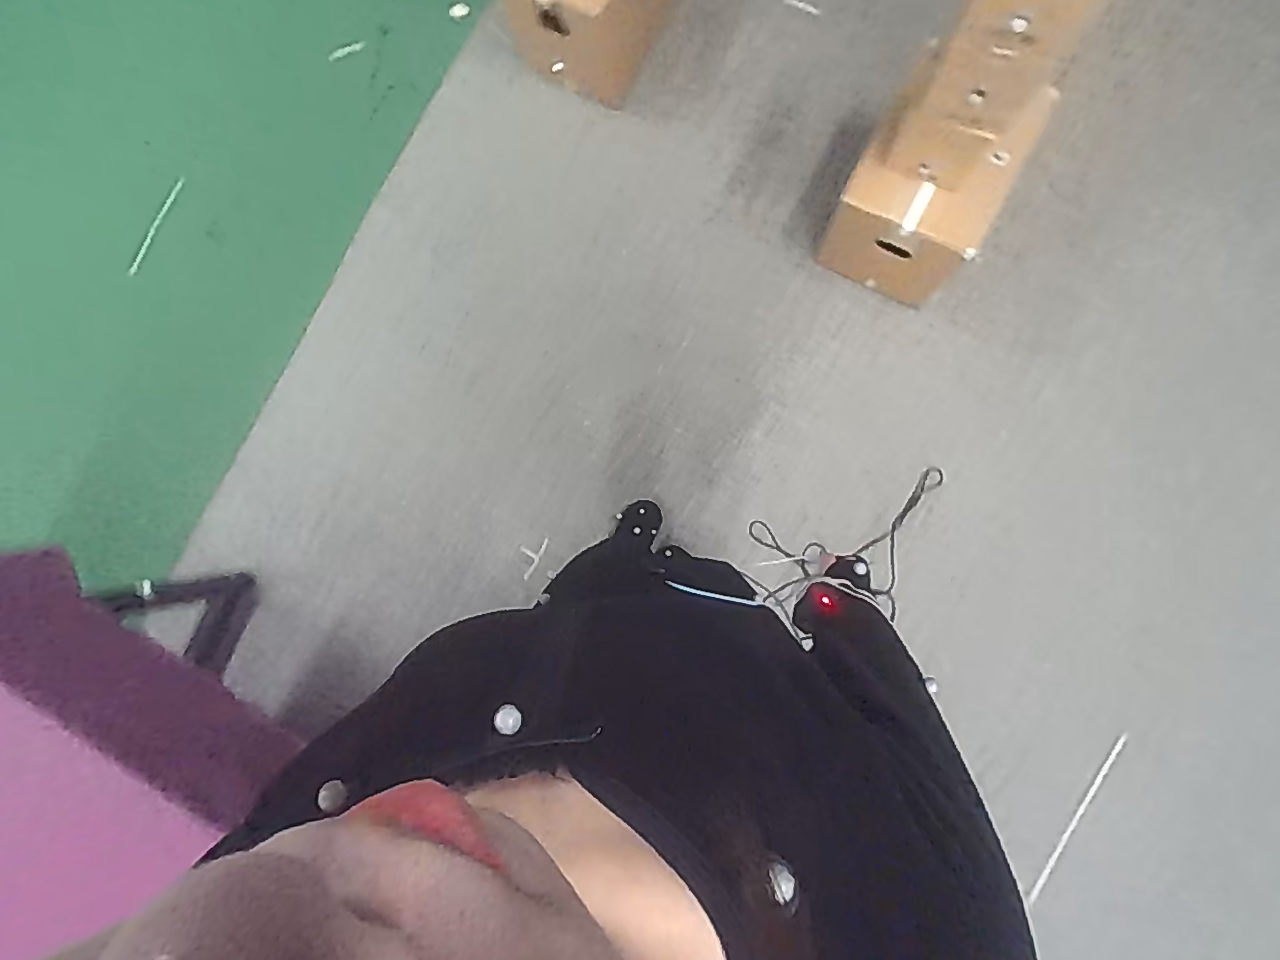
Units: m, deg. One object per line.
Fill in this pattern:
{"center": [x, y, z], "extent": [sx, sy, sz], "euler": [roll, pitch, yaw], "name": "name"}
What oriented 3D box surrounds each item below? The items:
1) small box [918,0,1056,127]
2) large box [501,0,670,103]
{"center": [0.601, -0.748, 0.920], "extent": [0.168, 0.176, 0.179], "euler": [20, 91, 8], "name": "small box"}
{"center": [-0.131, -1.340, 1.445], "extent": [0.320, 0.320, 0.408], "euler": [28, 90, 7], "name": "large box"}
